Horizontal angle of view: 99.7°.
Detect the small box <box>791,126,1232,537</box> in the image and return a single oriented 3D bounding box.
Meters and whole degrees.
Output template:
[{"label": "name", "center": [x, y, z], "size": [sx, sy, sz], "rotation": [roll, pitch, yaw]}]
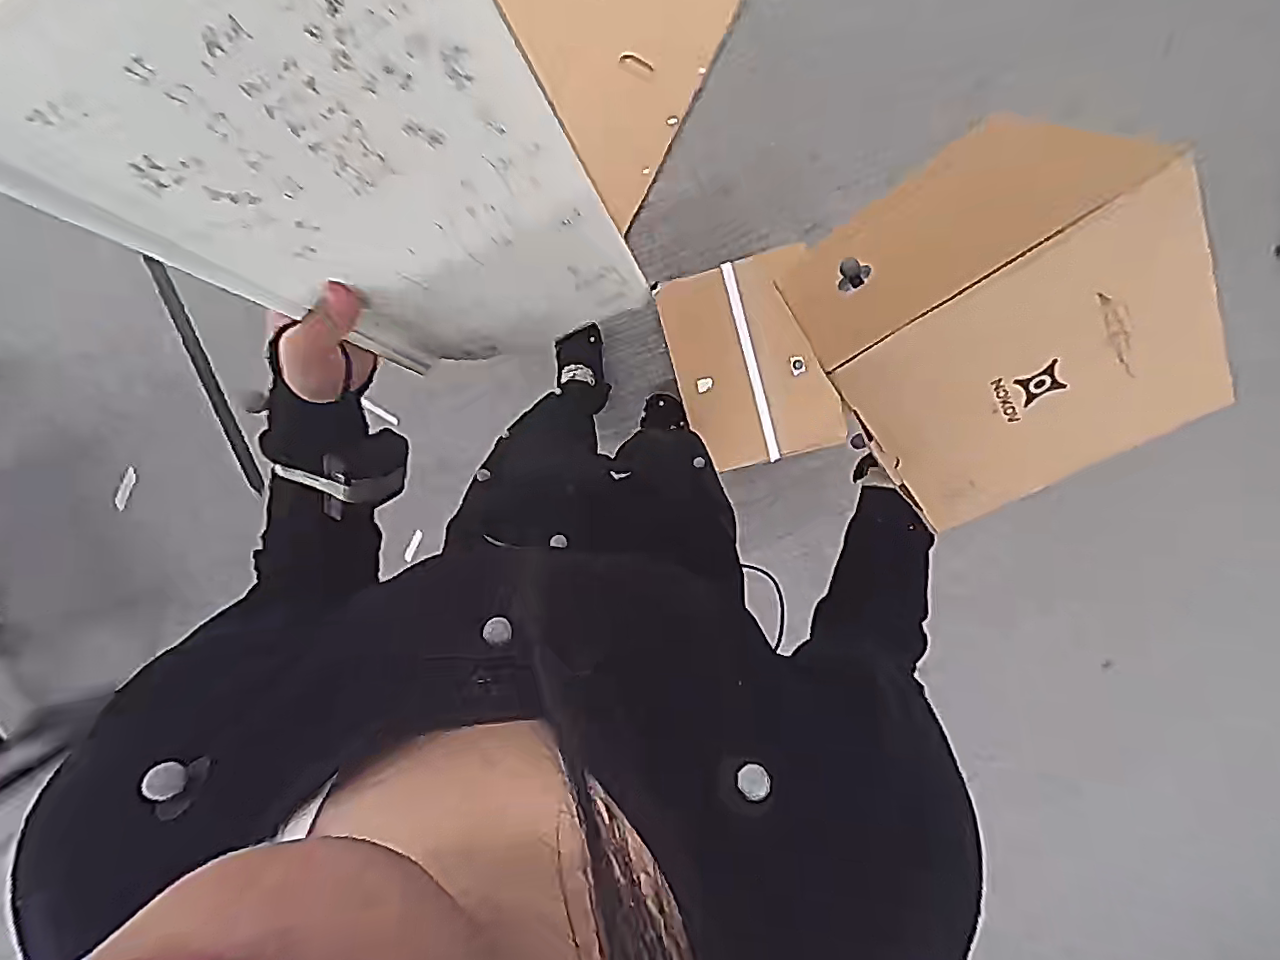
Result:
[{"label": "small box", "center": [0.222, -0.100, 0.368], "size": [0.179, 0.176, 0.168], "rotation": [-34, 122, 23]}]
